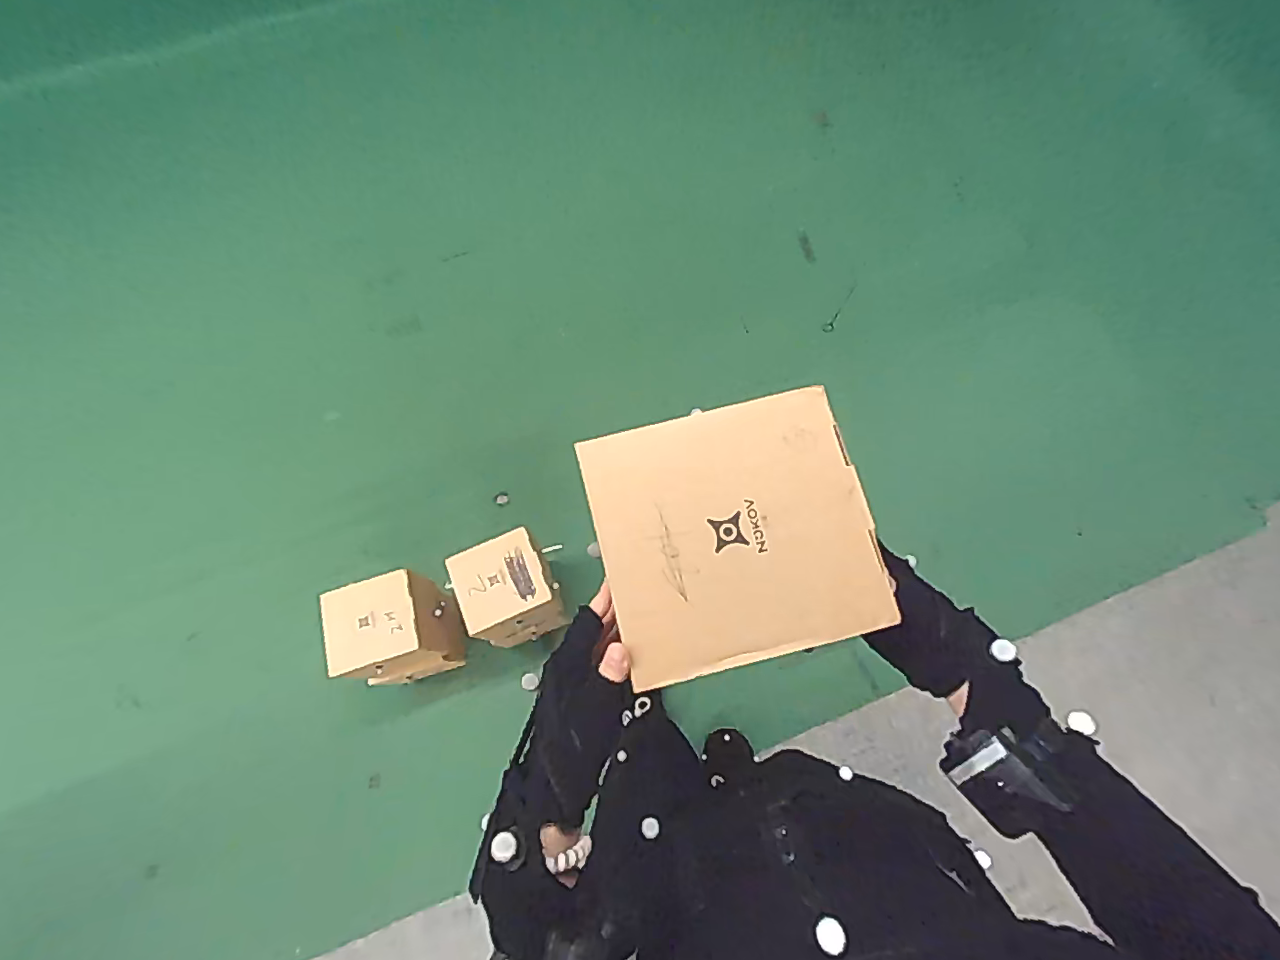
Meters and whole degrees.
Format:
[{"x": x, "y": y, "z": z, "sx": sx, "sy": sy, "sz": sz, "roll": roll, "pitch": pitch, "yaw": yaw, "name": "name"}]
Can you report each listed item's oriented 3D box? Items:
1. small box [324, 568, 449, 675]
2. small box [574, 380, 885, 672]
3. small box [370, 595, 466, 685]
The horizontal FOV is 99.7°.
[{"x": -0.523, "y": 0.302, "z": 1.131, "sx": 0.179, "sy": 0.176, "sz": 0.168, "roll": -16, "pitch": 70, "yaw": -5, "name": "small box"}, {"x": 0.055, "y": 0.041, "z": 0.431, "sx": 0.179, "sy": 0.176, "sz": 0.168, "roll": -12, "pitch": 78, "yaw": -1, "name": "small box"}, {"x": -0.526, "y": 0.373, "z": 1.280, "sx": 0.168, "sy": 0.176, "sz": 0.179, "roll": -16, "pitch": 69, "yaw": -5, "name": "small box"}]
